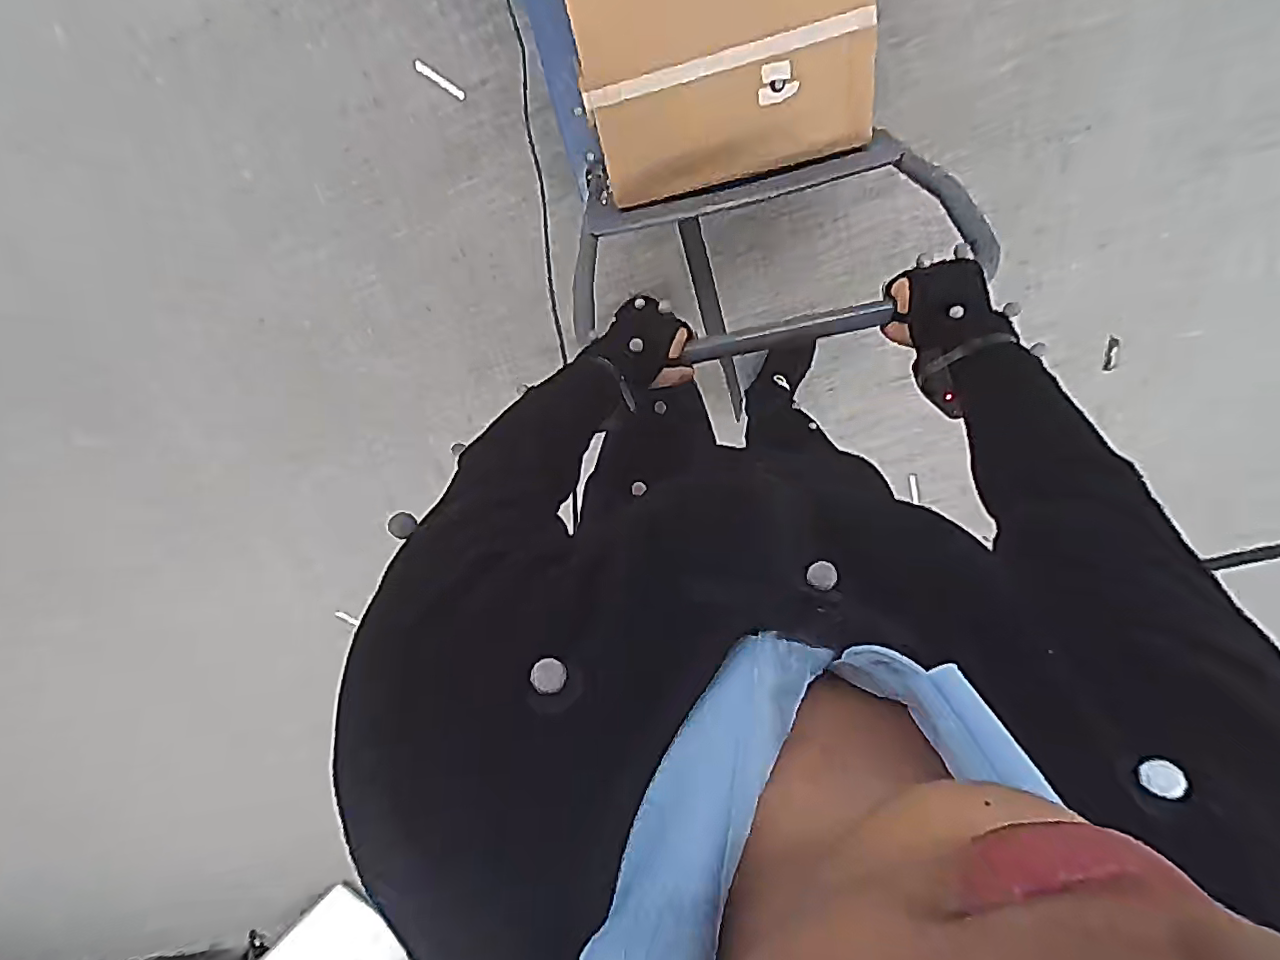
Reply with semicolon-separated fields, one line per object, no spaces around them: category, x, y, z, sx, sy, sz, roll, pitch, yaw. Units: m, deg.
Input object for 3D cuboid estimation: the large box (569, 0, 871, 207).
large box;0.124;-0.698;0.888;0.408;0.320;0.320;-11;129;9
